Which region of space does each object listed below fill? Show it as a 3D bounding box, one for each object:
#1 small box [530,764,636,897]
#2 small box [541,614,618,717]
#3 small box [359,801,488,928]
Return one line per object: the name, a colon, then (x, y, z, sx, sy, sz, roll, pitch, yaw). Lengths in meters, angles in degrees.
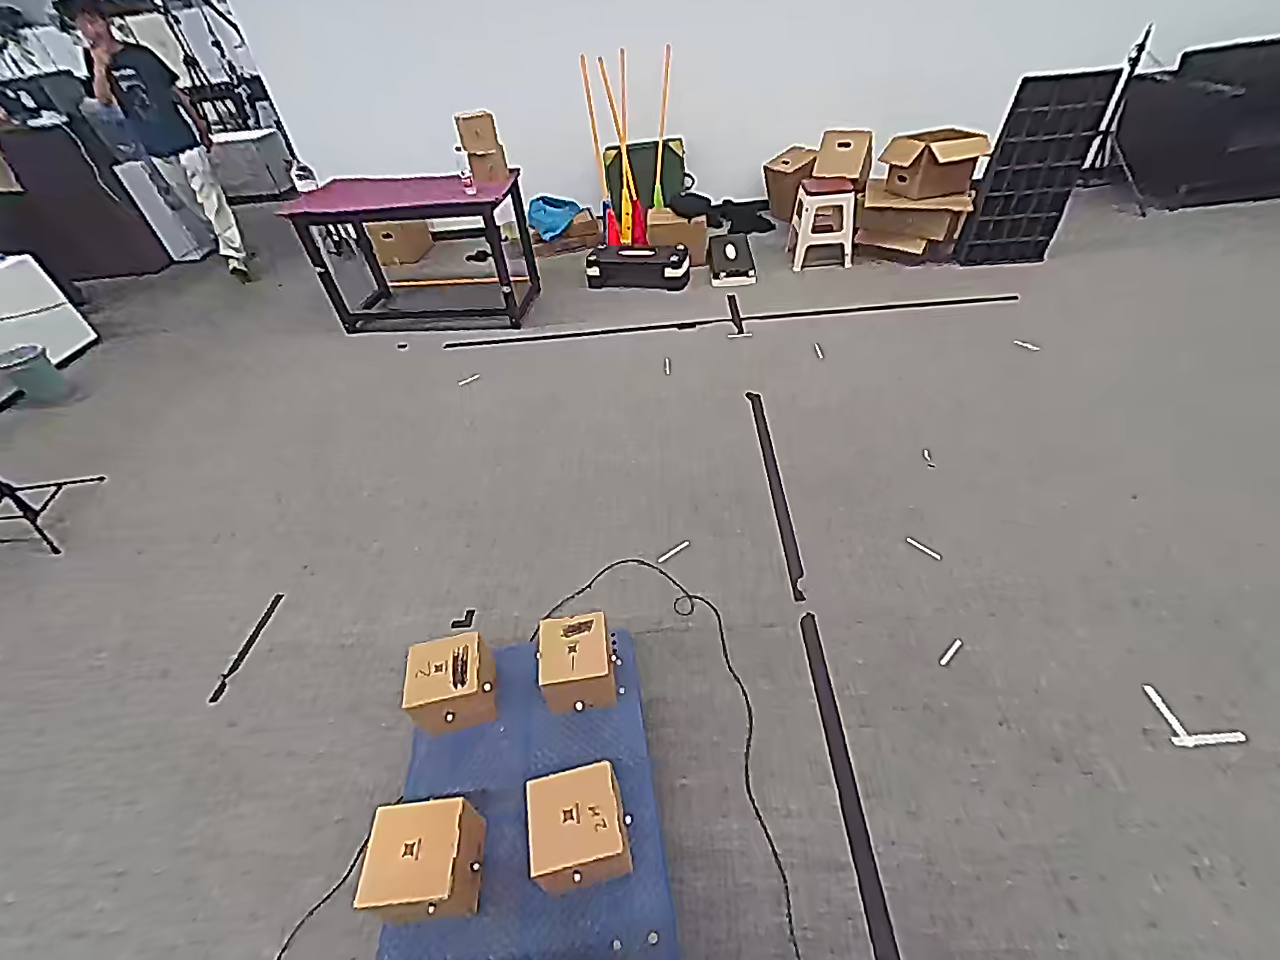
small box: (-0.114, 0.711, 1.094, 0.179, 0.176, 0.168, -12, 43, -5)
small box: (-0.149, 0.468, 1.363, 0.168, 0.176, 0.179, -9, 44, -1)
small box: (-0.418, 0.768, 1.077, 0.179, 0.176, 0.168, -7, 42, -1)
